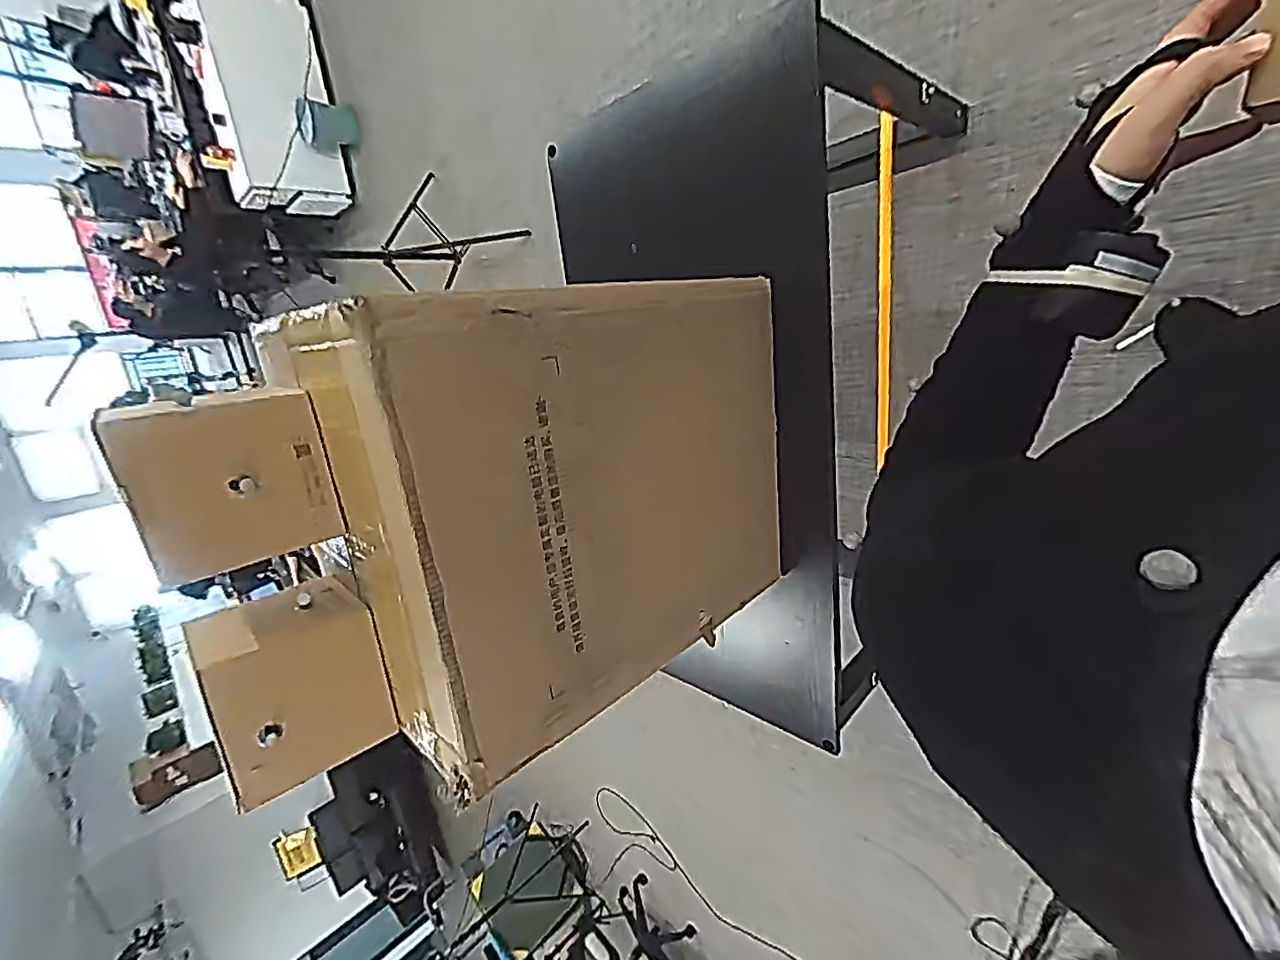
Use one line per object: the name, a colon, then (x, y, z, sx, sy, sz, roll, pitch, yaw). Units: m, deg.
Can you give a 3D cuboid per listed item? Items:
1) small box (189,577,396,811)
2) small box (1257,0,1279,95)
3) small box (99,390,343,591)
small box: (-0.420, 0.244, 0.665, 0.168, 0.176, 0.179, 9, 111, 46)
small box: (0.432, -0.300, 0.250, 0.168, 0.176, 0.179, 14, 121, 50)
small box: (-0.453, -0.004, 0.601, 0.179, 0.176, 0.168, 12, 114, 46)
